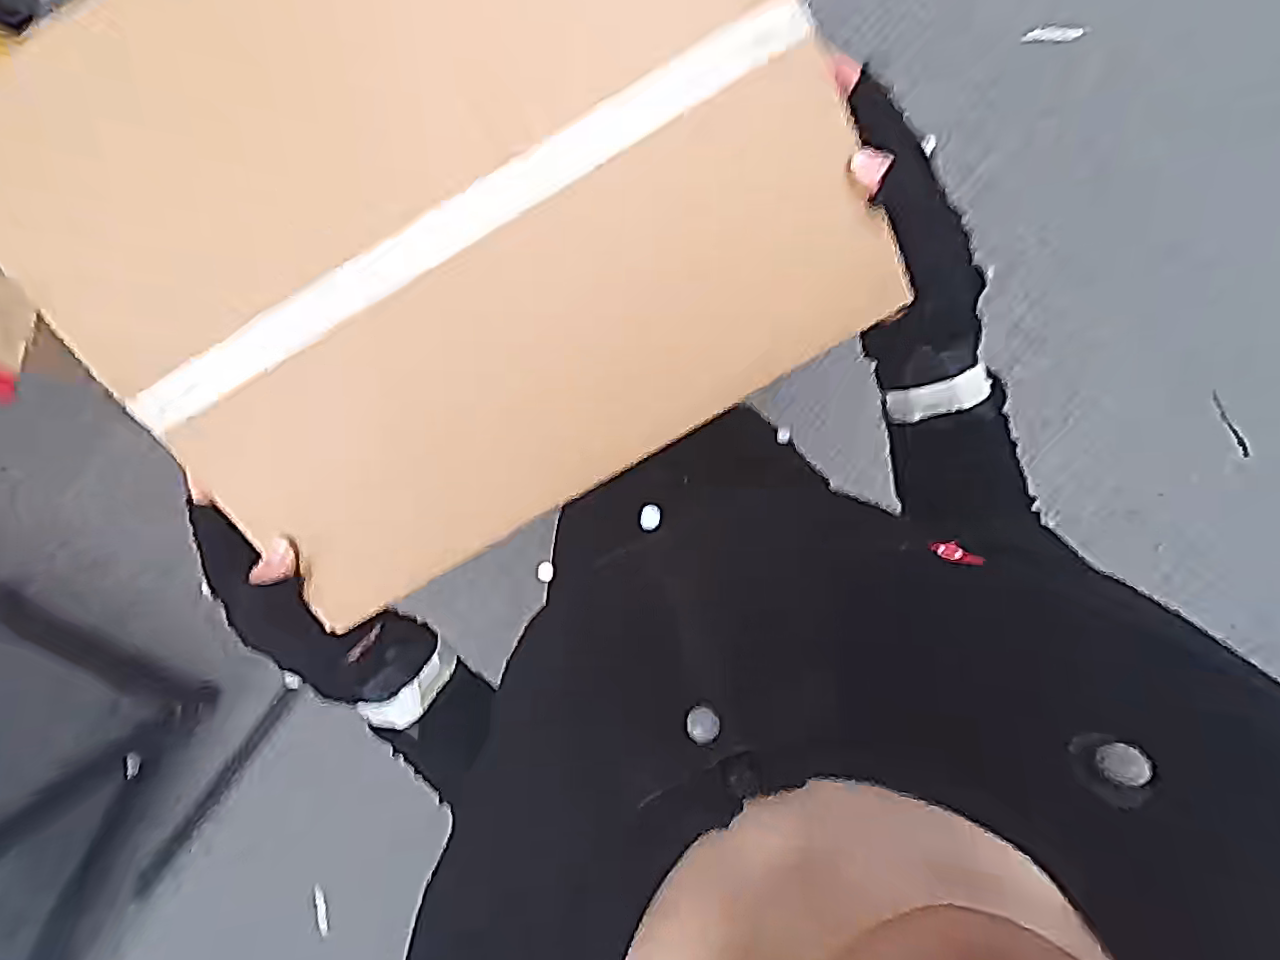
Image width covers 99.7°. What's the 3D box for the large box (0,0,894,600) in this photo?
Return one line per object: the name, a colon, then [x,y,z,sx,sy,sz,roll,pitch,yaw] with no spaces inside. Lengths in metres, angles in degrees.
large box: [-0.103,-0.182,0.438,0.408,0.320,0.320,-29,108,2]
